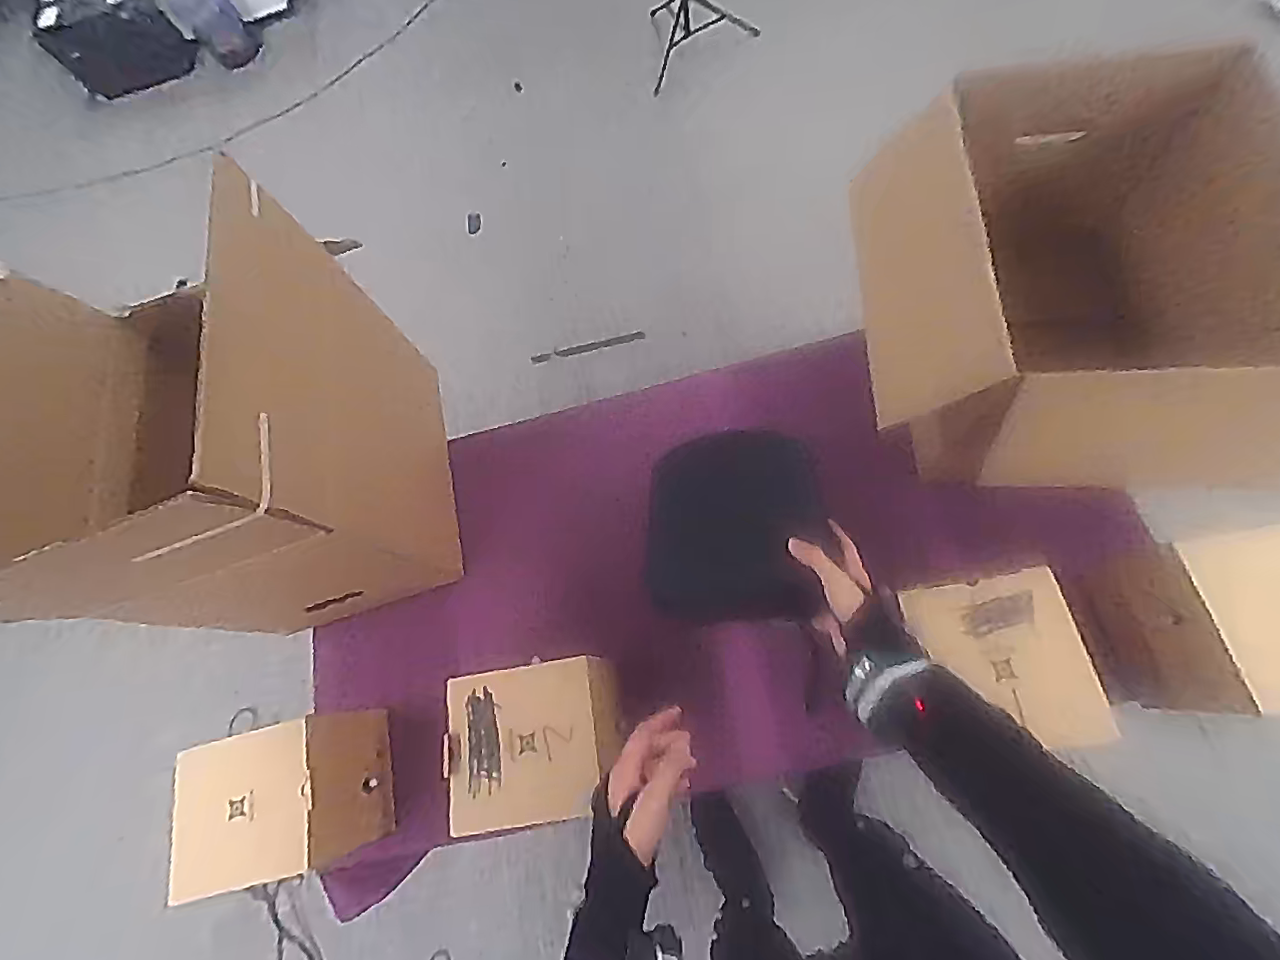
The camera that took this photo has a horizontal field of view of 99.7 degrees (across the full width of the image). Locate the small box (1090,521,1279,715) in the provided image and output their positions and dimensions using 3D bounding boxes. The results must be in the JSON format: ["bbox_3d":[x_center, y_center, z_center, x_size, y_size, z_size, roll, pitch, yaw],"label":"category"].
[{"bbox_3d":[0.663,0.156,0.603,0.168,0.176,0.179,-11,68,7],"label":"small box"}]

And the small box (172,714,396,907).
[{"bbox_3d":[-0.452,0.416,0.709,0.179,0.176,0.168,-17,68,2],"label":"small box"}]
